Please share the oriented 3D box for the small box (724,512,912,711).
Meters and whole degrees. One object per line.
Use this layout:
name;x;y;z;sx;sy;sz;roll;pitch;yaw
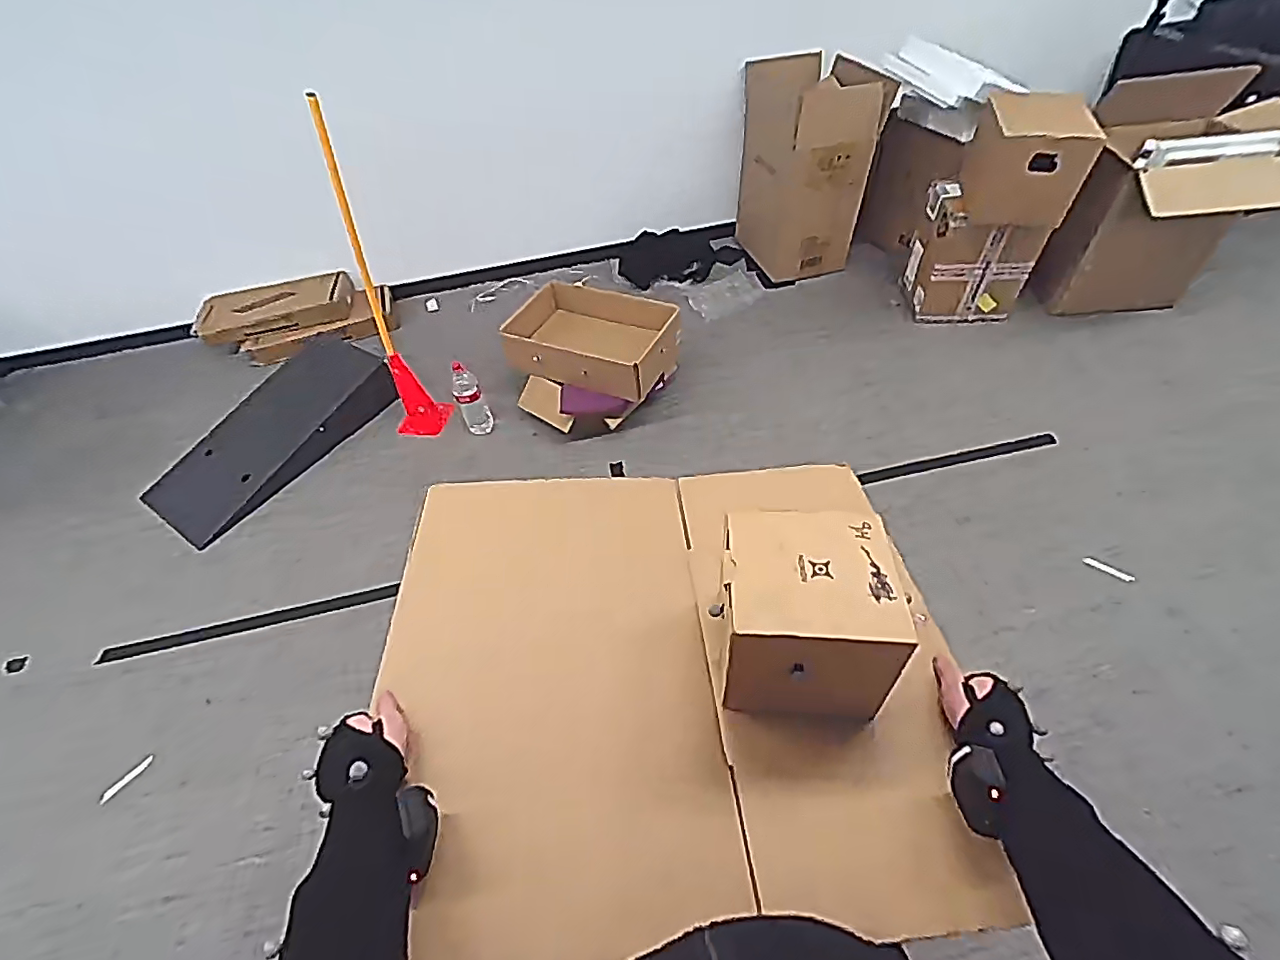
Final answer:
small box;0.188;0.154;0.633;0.179;0.176;0.168;1;45;6
